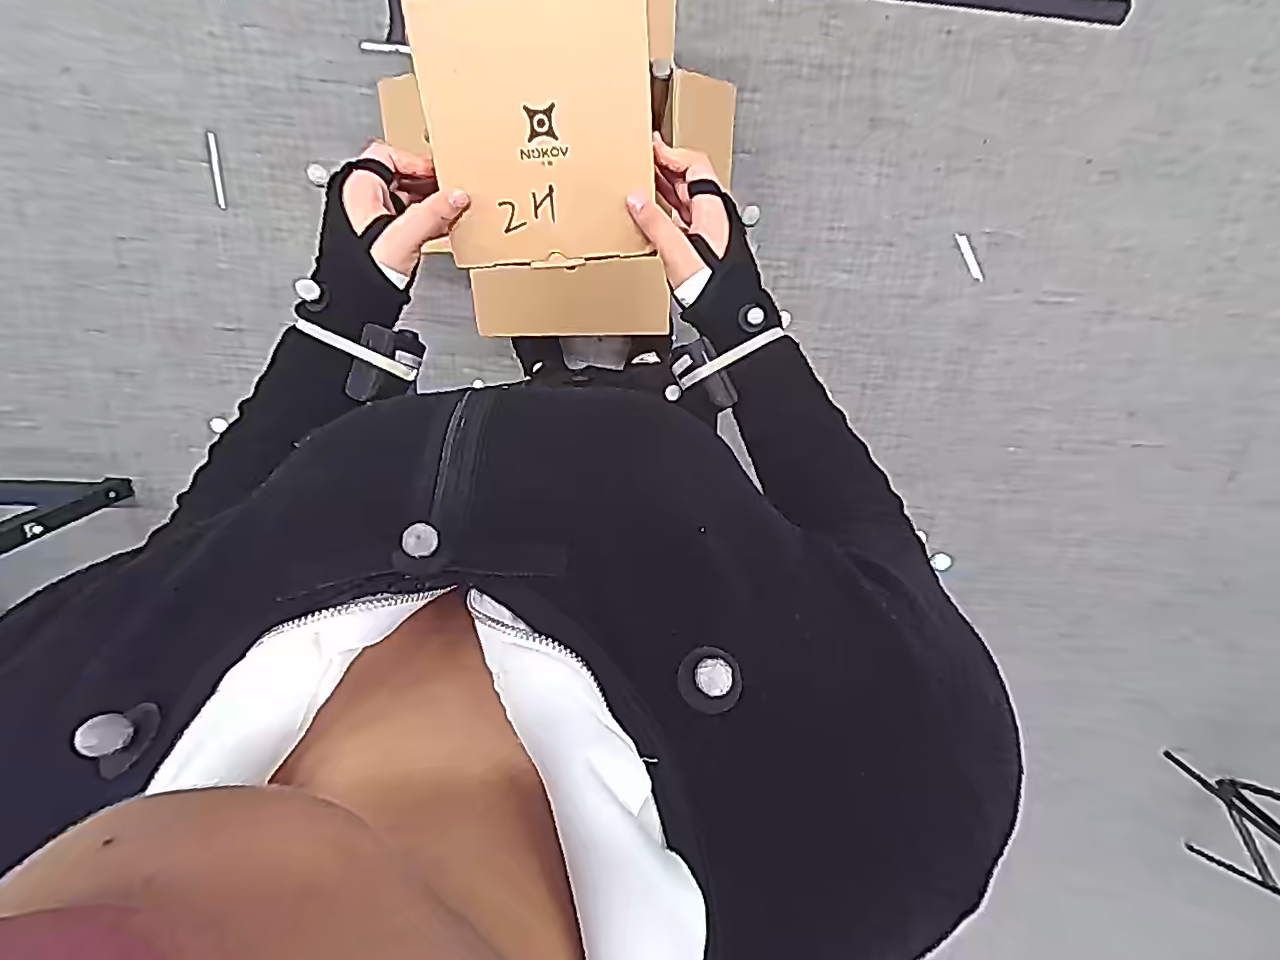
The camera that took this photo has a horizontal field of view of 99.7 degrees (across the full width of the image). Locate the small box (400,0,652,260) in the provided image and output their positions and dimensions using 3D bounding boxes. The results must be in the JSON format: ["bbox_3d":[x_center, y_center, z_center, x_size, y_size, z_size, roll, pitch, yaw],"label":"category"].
[{"bbox_3d":[-0.079,-0.293,0.467,0.168,0.176,0.179,-4,117,1],"label":"small box"}]
